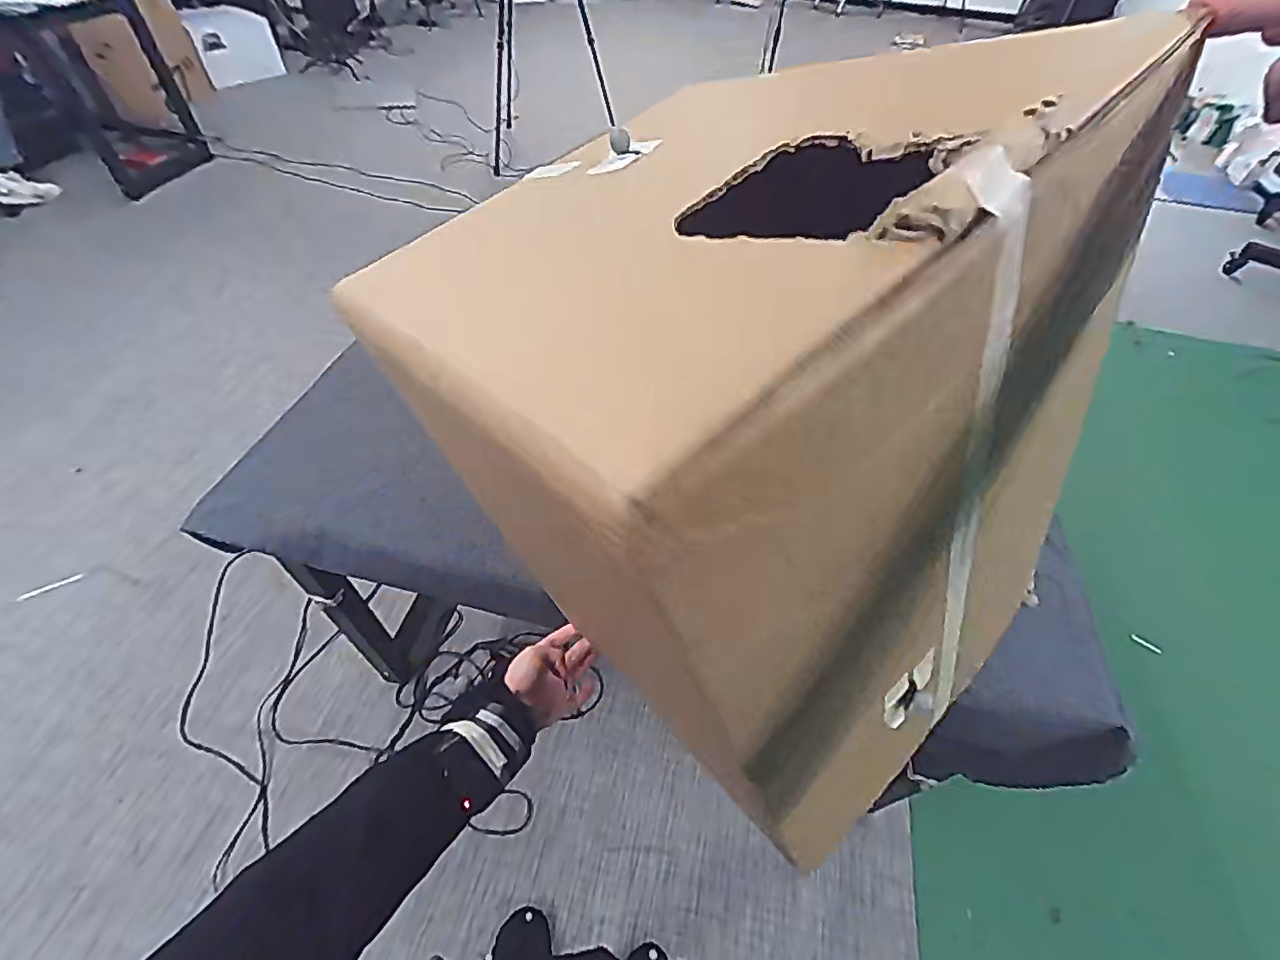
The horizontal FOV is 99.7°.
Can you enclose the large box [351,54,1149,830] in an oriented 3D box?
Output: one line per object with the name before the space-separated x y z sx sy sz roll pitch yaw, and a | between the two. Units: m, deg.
large box | 0.076 -0.017 0.418 0.320 0.408 0.320 -41 46 -17
